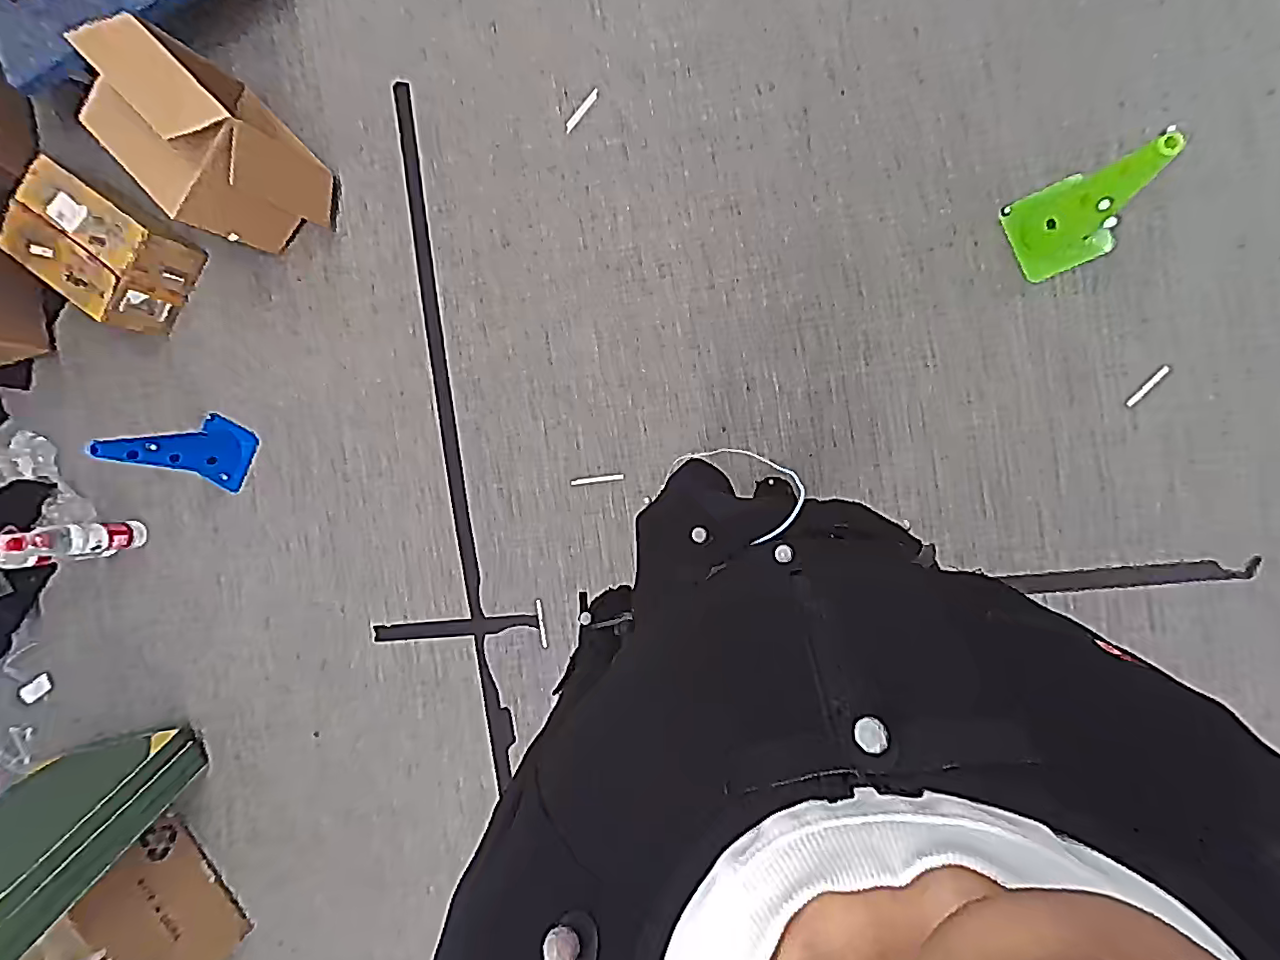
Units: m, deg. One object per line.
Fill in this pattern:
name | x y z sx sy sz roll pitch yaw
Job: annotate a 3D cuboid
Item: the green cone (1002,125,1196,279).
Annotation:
green cone | 0.966 -0.597 1.115 0.202 0.368 0.200 -24 88 8
